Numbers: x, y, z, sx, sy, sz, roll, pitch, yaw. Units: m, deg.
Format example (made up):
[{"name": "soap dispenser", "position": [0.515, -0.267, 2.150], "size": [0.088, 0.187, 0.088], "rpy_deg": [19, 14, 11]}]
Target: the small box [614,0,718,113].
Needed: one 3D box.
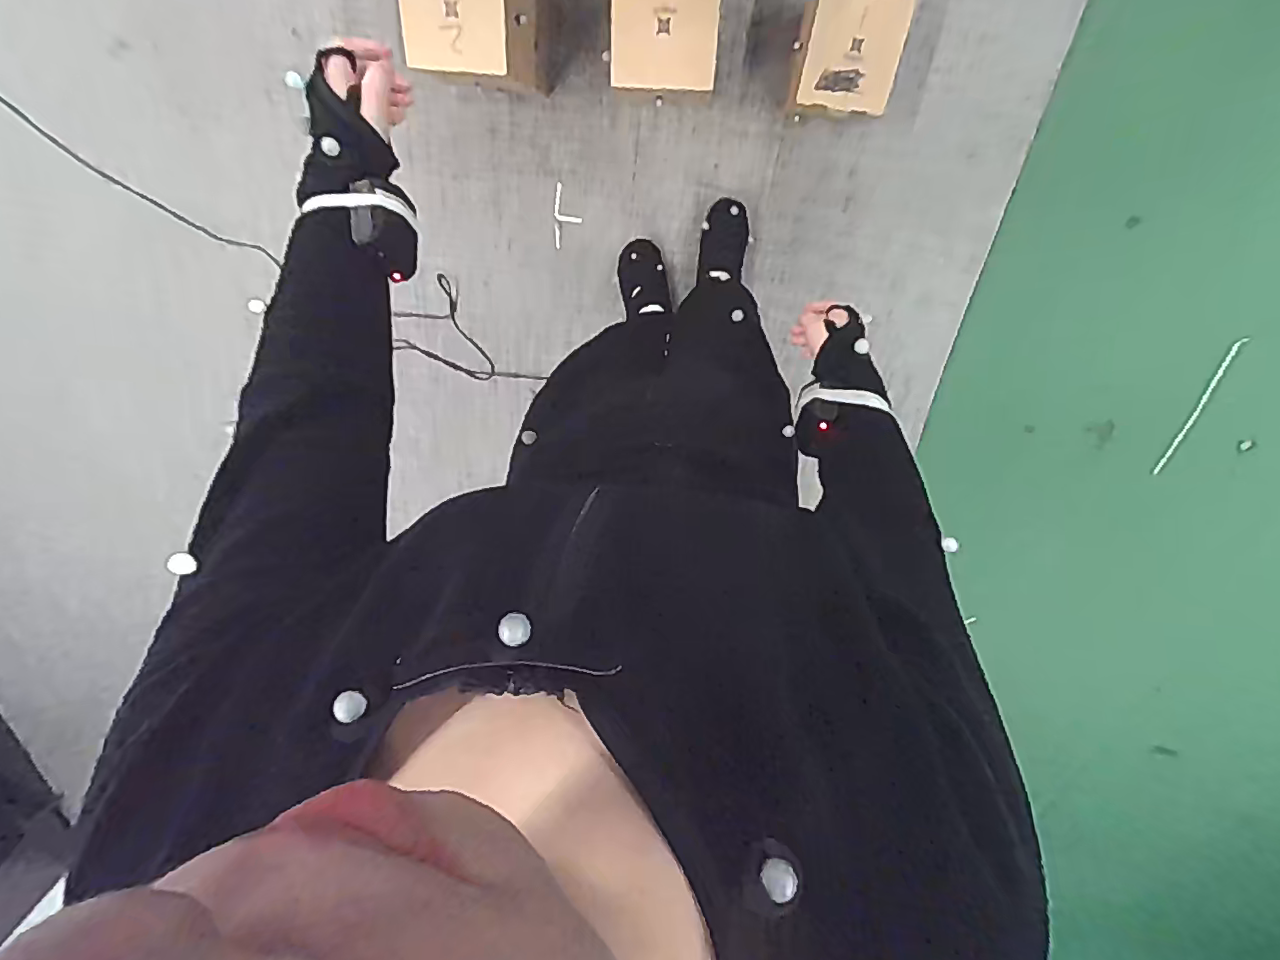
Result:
[{"name": "small box", "position": [0.051, -0.820, 1.042], "size": [0.179, 0.176, 0.168], "rpy_deg": [6, 119, 1]}]
